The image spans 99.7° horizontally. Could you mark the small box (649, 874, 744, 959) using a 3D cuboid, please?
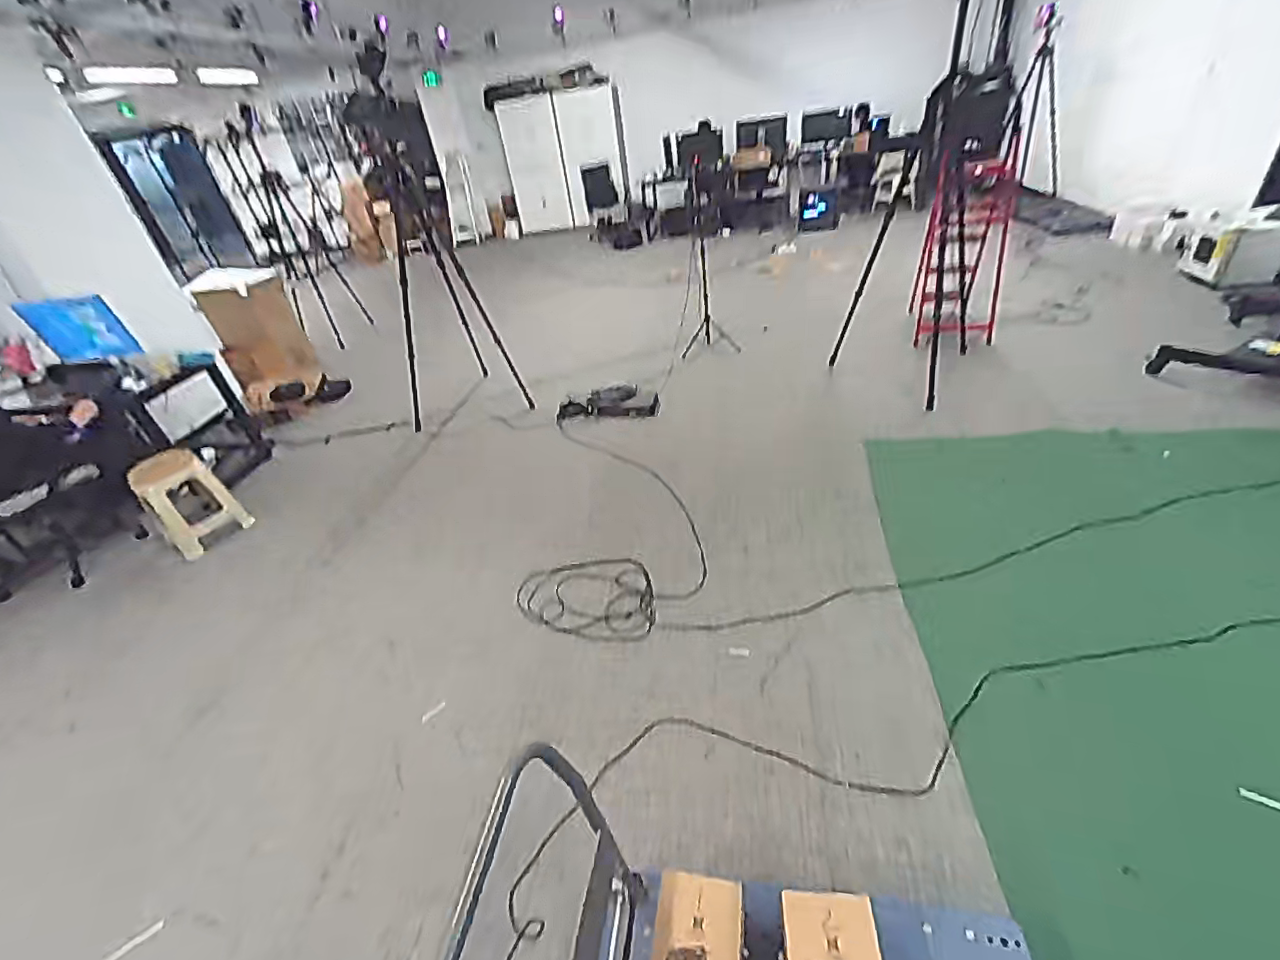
[{"bbox_3d":[0.118,0.928,1.073,0.168,0.176,0.179,0,35,13],"label":"small box"}]
